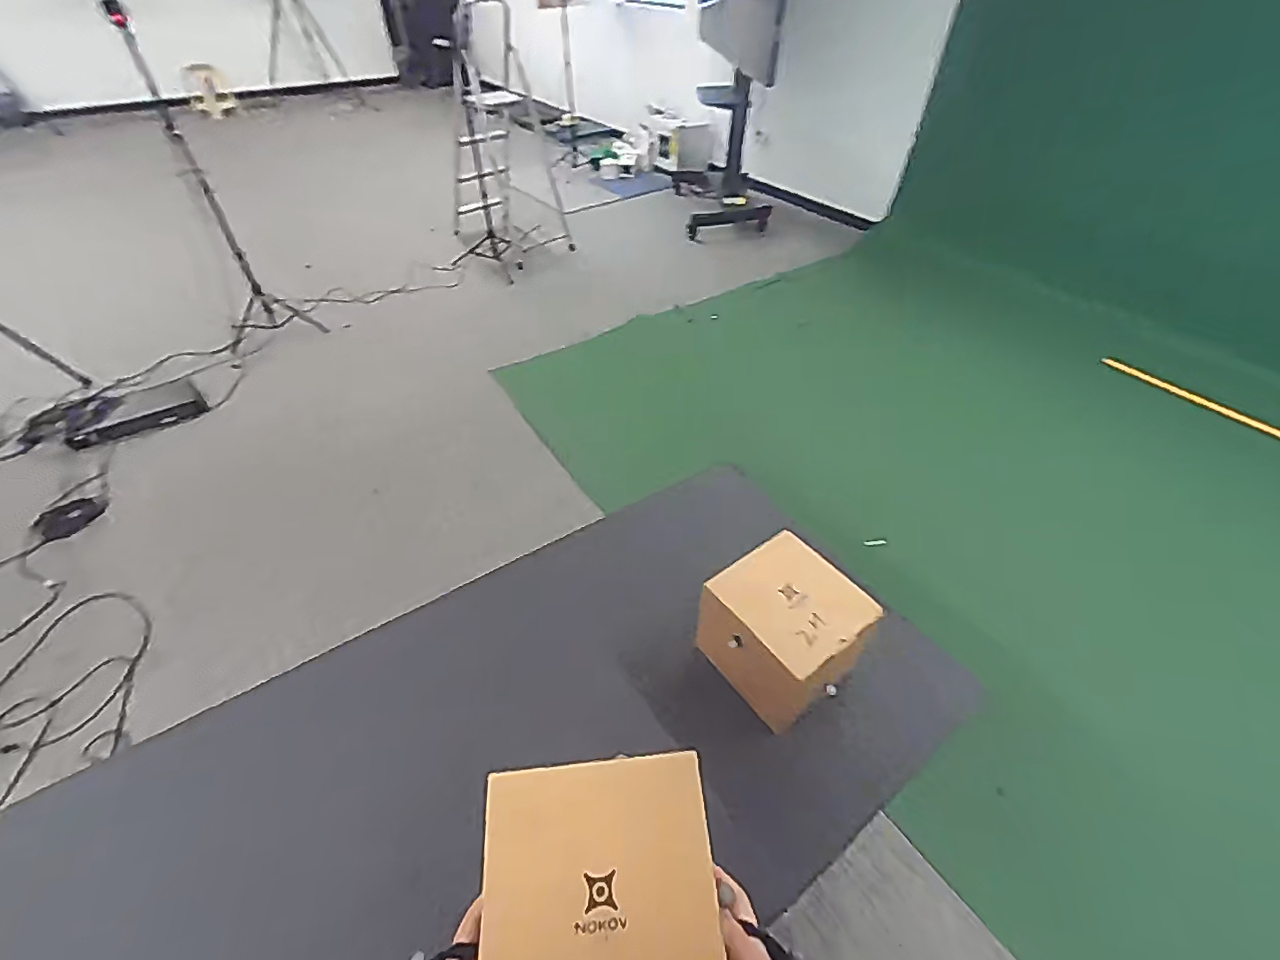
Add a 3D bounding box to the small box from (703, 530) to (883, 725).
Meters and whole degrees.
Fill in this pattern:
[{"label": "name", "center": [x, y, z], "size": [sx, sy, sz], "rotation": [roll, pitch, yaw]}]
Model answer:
[{"label": "small box", "center": [0.205, 0.211, 0.780], "size": [0.168, 0.176, 0.179], "rotation": [-29, 51, -24]}]
